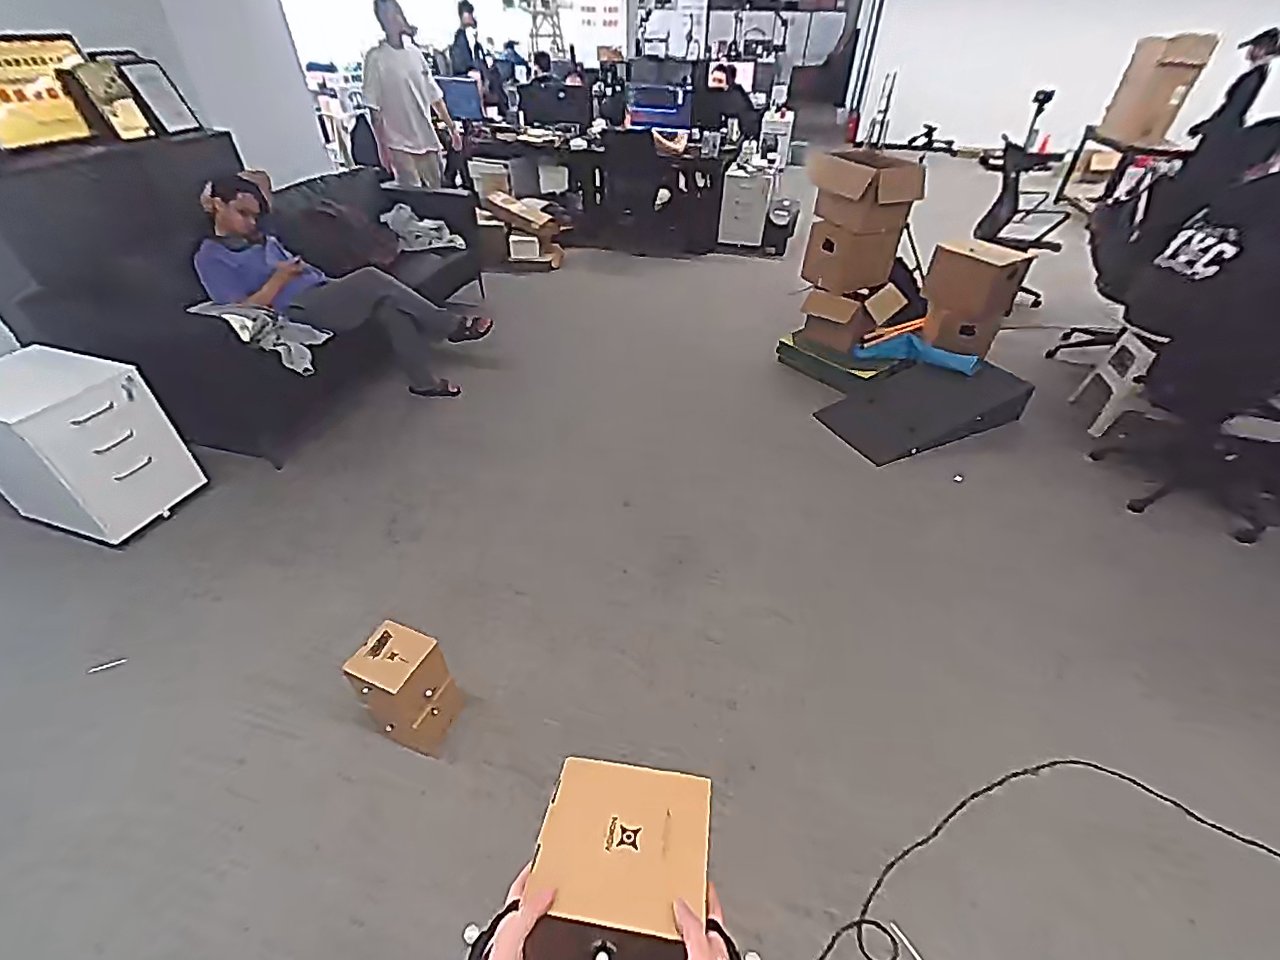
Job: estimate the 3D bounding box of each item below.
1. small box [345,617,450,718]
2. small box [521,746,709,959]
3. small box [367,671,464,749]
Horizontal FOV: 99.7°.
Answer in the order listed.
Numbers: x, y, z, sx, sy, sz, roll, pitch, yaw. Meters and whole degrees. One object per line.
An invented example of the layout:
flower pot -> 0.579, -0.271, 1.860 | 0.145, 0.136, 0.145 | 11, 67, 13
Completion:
small box -> -0.643, 0.508, 1.454 | 0.179, 0.176, 0.168 | 16, 41, 17
small box -> -0.020, 0.436, 0.605 | 0.179, 0.176, 0.168 | 6, 25, 6
small box -> -0.637, 0.639, 1.554 | 0.179, 0.176, 0.168 | 14, 40, 16
